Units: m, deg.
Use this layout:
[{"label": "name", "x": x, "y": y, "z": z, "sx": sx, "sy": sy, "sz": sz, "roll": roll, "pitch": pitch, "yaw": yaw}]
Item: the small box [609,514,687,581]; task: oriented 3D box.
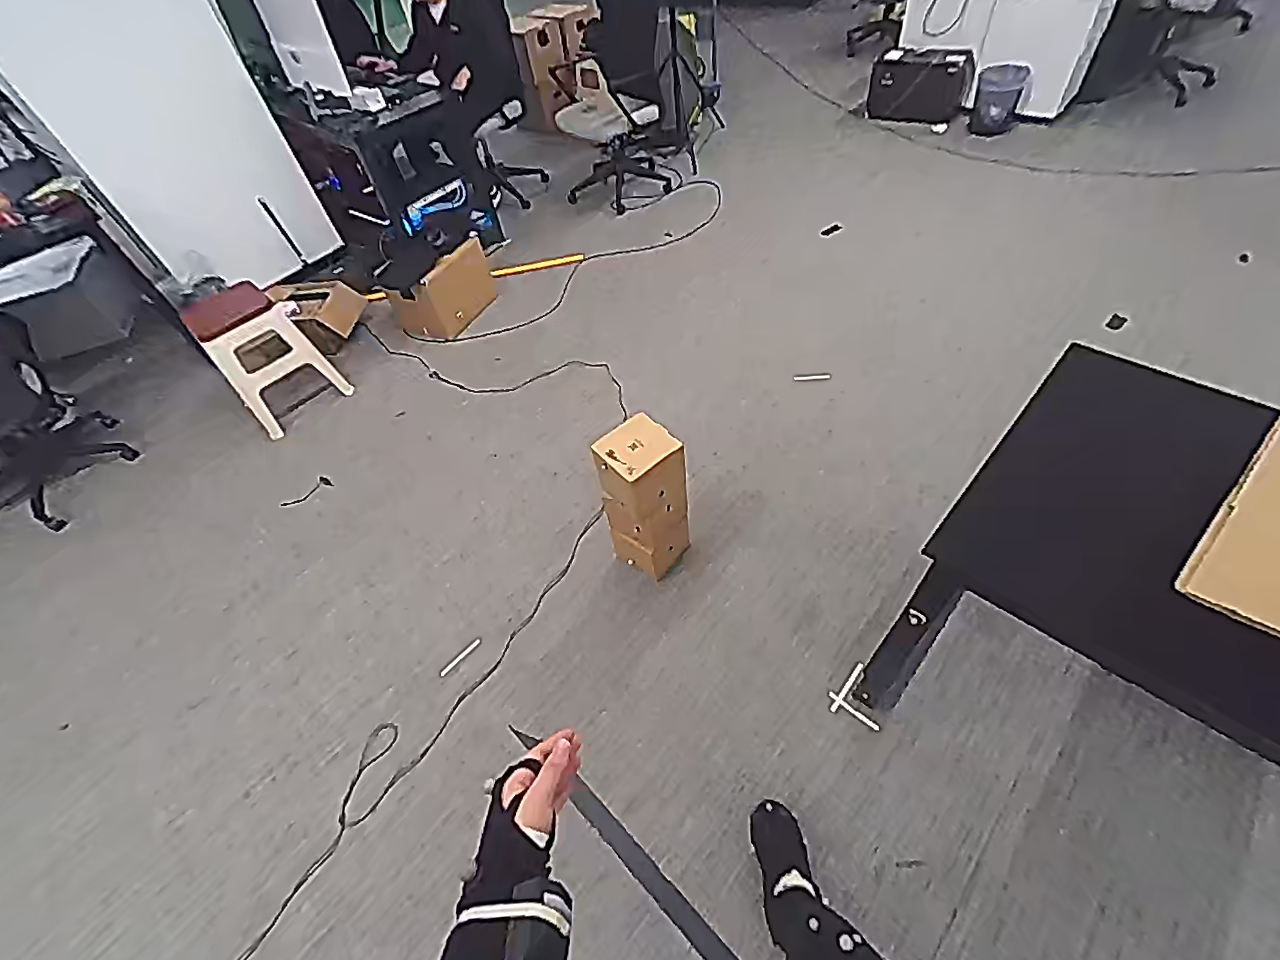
[{"label": "small box", "x": 0.031, "y": 0.175, "z": 1.661, "sx": 0.168, "sy": 0.176, "sz": 0.179, "roll": 30, "pitch": 62, "yaw": 28}]

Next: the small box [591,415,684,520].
[{"label": "small box", "x": -0.003, "y": -0.031, "z": 1.411, "sx": 0.179, "sy": 0.176, "sz": 0.168, "roll": -35, "pitch": 55, "yaw": -20}]

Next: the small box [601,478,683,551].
[{"label": "small box", "x": 0.014, "y": 0.070, "z": 1.539, "sx": 0.168, "sy": 0.176, "sz": 0.179, "roll": 27, "pitch": 59, "yaw": 25}]
